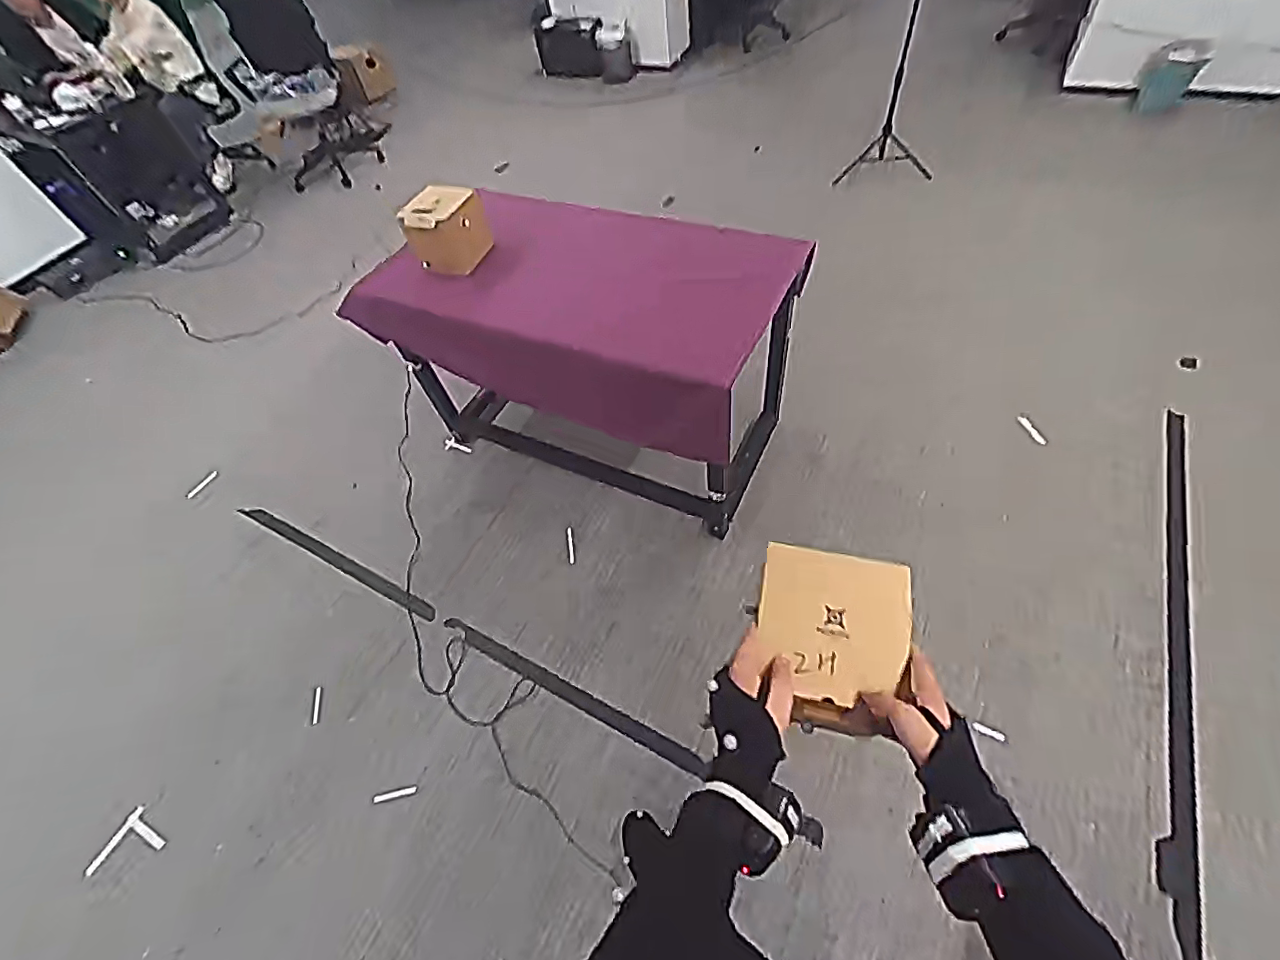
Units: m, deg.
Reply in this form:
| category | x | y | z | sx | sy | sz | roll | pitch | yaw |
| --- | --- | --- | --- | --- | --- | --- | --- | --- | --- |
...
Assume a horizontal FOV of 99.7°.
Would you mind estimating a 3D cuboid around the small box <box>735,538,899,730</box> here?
| category | x | y | z | sx | sy | sz | roll | pitch | yaw |
| --- | --- | --- | --- | --- | --- | --- | --- | --- | --- |
| small box | 0.212 | 0.196 | 0.676 | 0.168 | 0.176 | 0.179 | 7 | 60 | 12 |

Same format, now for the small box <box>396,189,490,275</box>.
| category | x | y | z | sx | sy | sz | roll | pitch | yaw |
| --- | --- | --- | --- | --- | --- | --- | --- | --- | --- |
| small box | -0.567 | -0.725 | 1.587 | 0.168 | 0.176 | 0.179 | 12 | 57 | 16 |
